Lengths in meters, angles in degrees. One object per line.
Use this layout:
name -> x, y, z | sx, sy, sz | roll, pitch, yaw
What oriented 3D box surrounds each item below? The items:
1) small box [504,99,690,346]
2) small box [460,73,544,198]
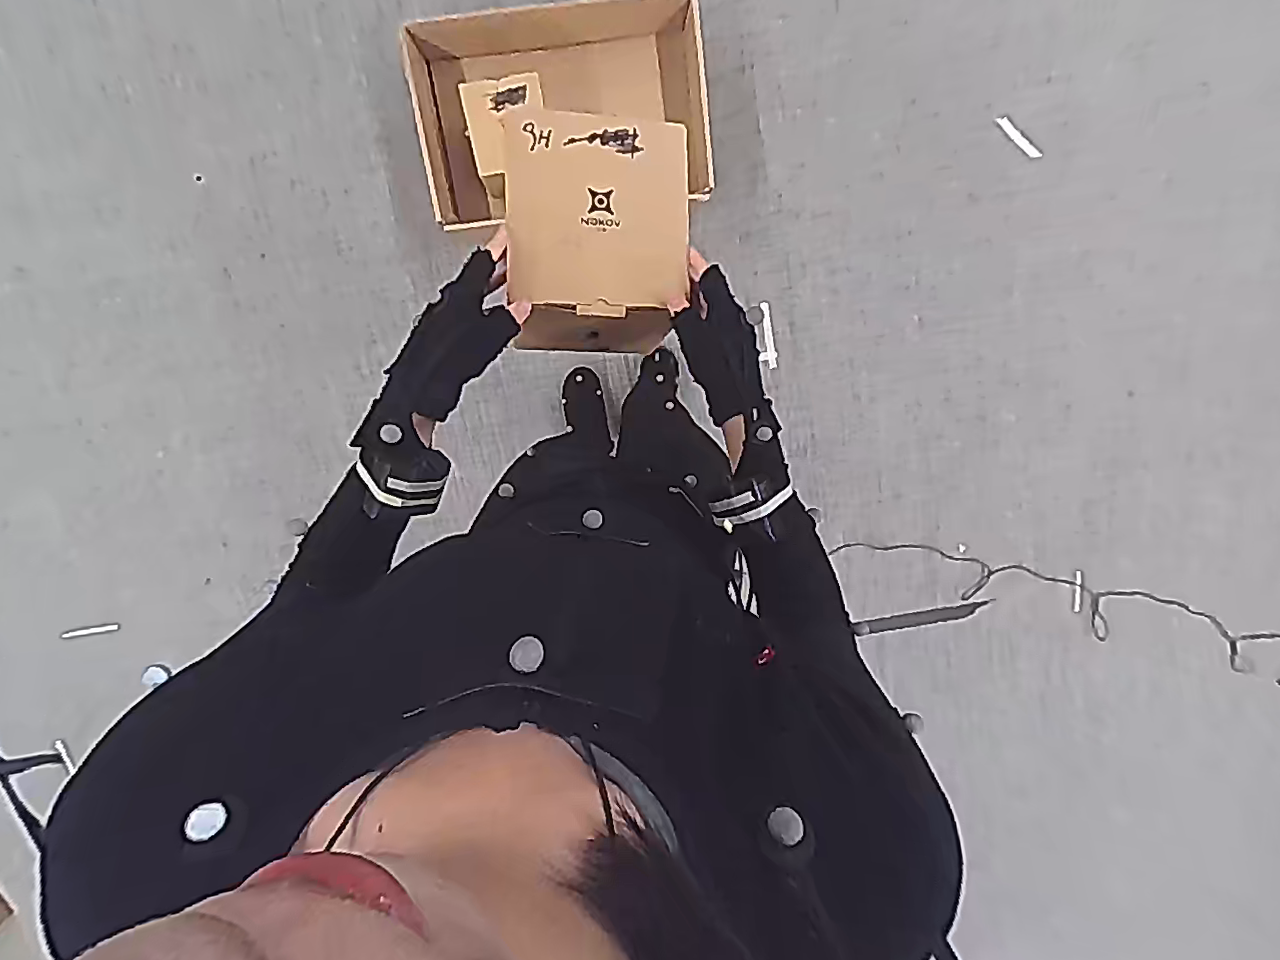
small box -> -0.049, -0.242, 0.556 | 0.168, 0.176, 0.179 | -1, 90, -11
small box -> -0.281, -0.751, 1.194 | 0.168, 0.176, 0.179 | -11, 104, -2
